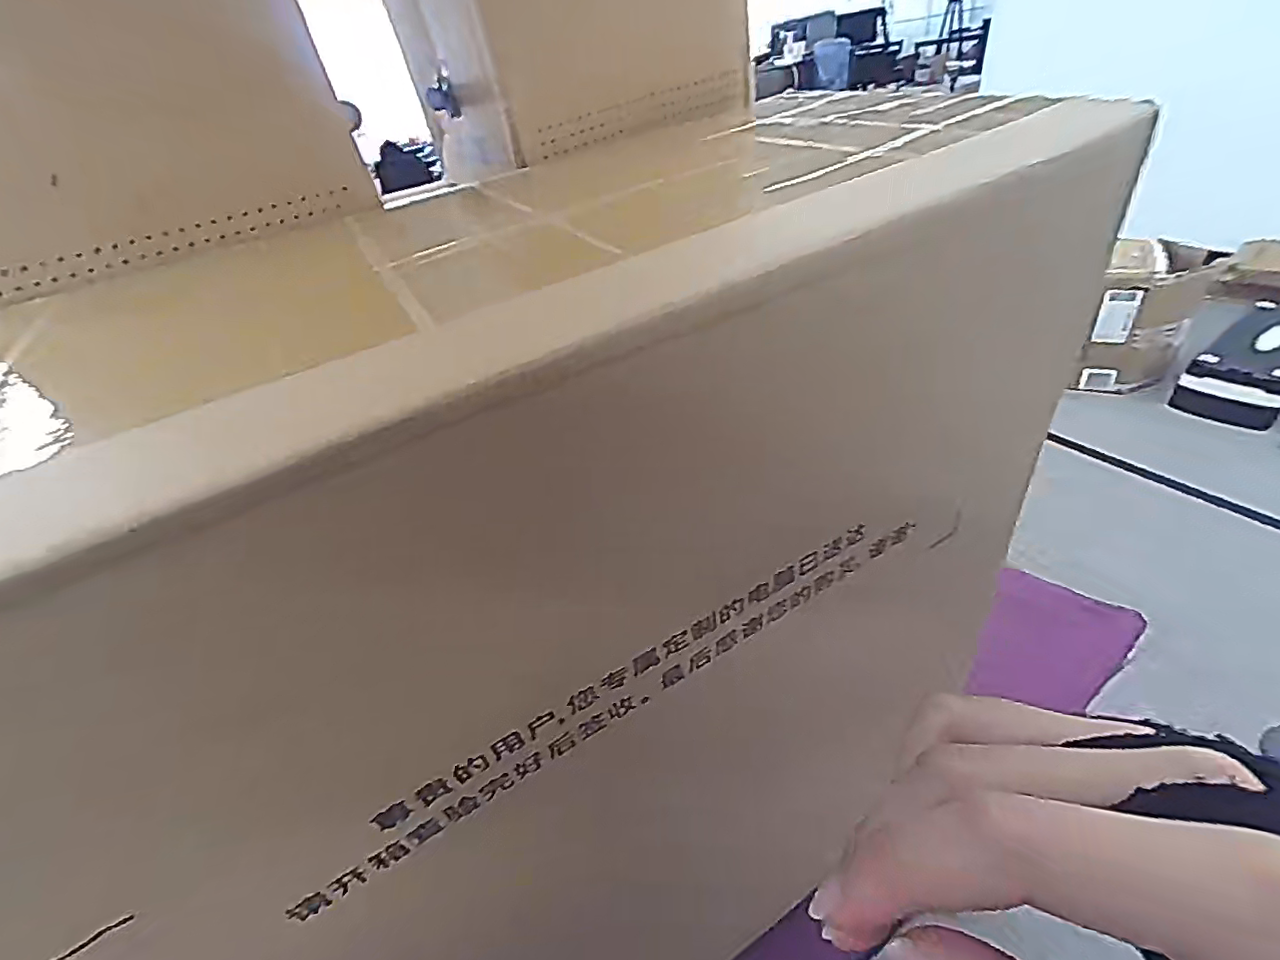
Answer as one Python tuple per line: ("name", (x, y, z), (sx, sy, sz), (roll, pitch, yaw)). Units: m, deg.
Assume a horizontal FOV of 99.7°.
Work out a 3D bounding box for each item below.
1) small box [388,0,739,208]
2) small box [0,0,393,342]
("small box", (-0.051, -0.295, 0.347), (0.179, 0.176, 0.168), (-31, 41, -20))
("small box", (-0.252, -0.185, 0.262), (0.179, 0.176, 0.168), (-26, 41, -20))
